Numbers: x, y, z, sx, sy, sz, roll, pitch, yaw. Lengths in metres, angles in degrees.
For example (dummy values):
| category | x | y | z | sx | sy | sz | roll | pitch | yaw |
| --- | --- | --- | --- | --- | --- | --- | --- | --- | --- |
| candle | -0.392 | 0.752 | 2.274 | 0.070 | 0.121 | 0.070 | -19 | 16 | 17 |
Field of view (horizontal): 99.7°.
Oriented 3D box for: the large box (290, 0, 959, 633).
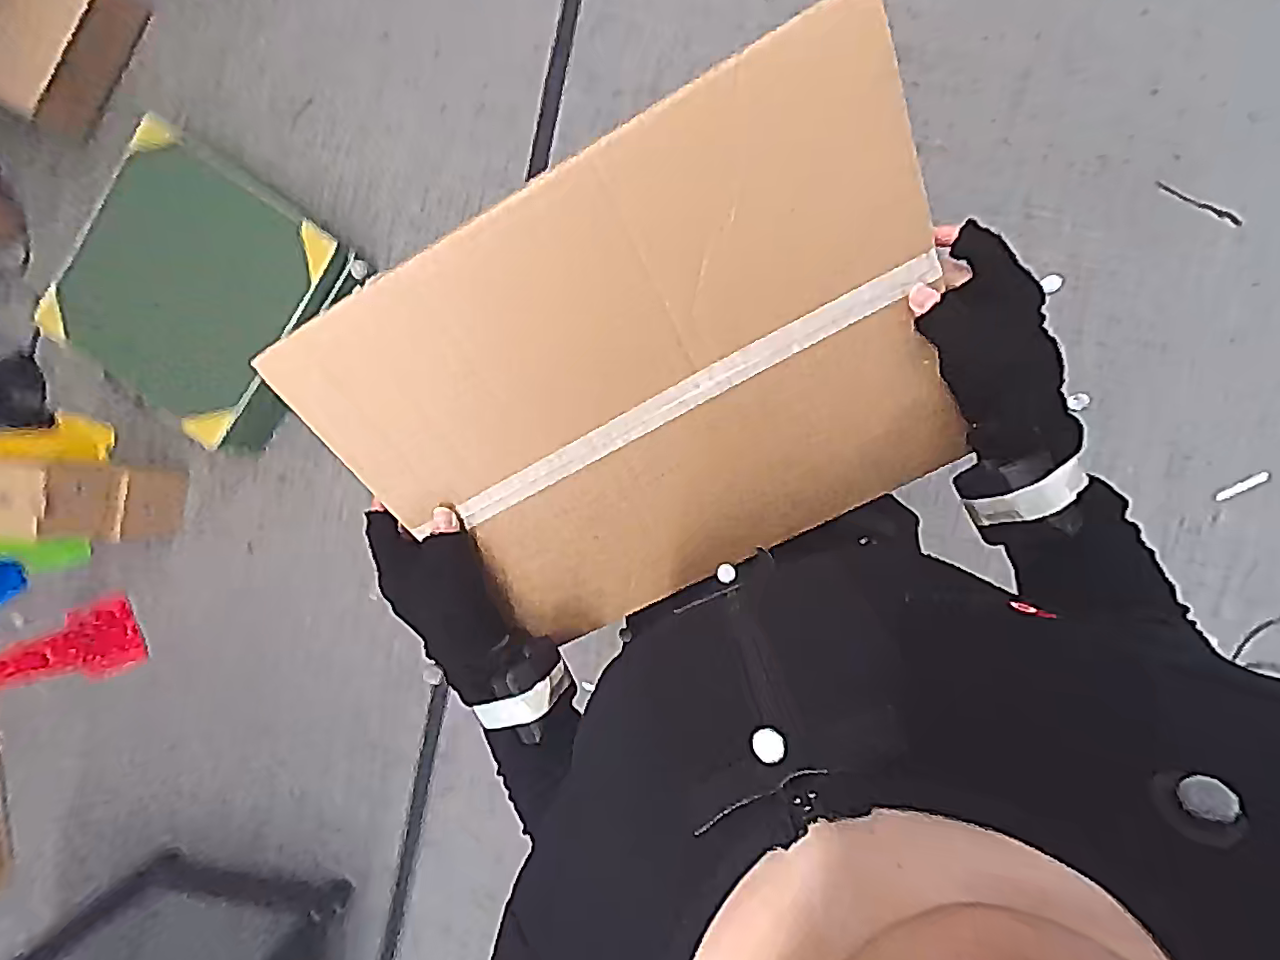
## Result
| category | x | y | z | sx | sy | sz | roll | pitch | yaw |
| --- | --- | --- | --- | --- | --- | --- | --- | --- | --- |
| large box | -0.002 | -0.132 | 0.517 | 0.408 | 0.320 | 0.320 | -26 | 120 | 9 |
